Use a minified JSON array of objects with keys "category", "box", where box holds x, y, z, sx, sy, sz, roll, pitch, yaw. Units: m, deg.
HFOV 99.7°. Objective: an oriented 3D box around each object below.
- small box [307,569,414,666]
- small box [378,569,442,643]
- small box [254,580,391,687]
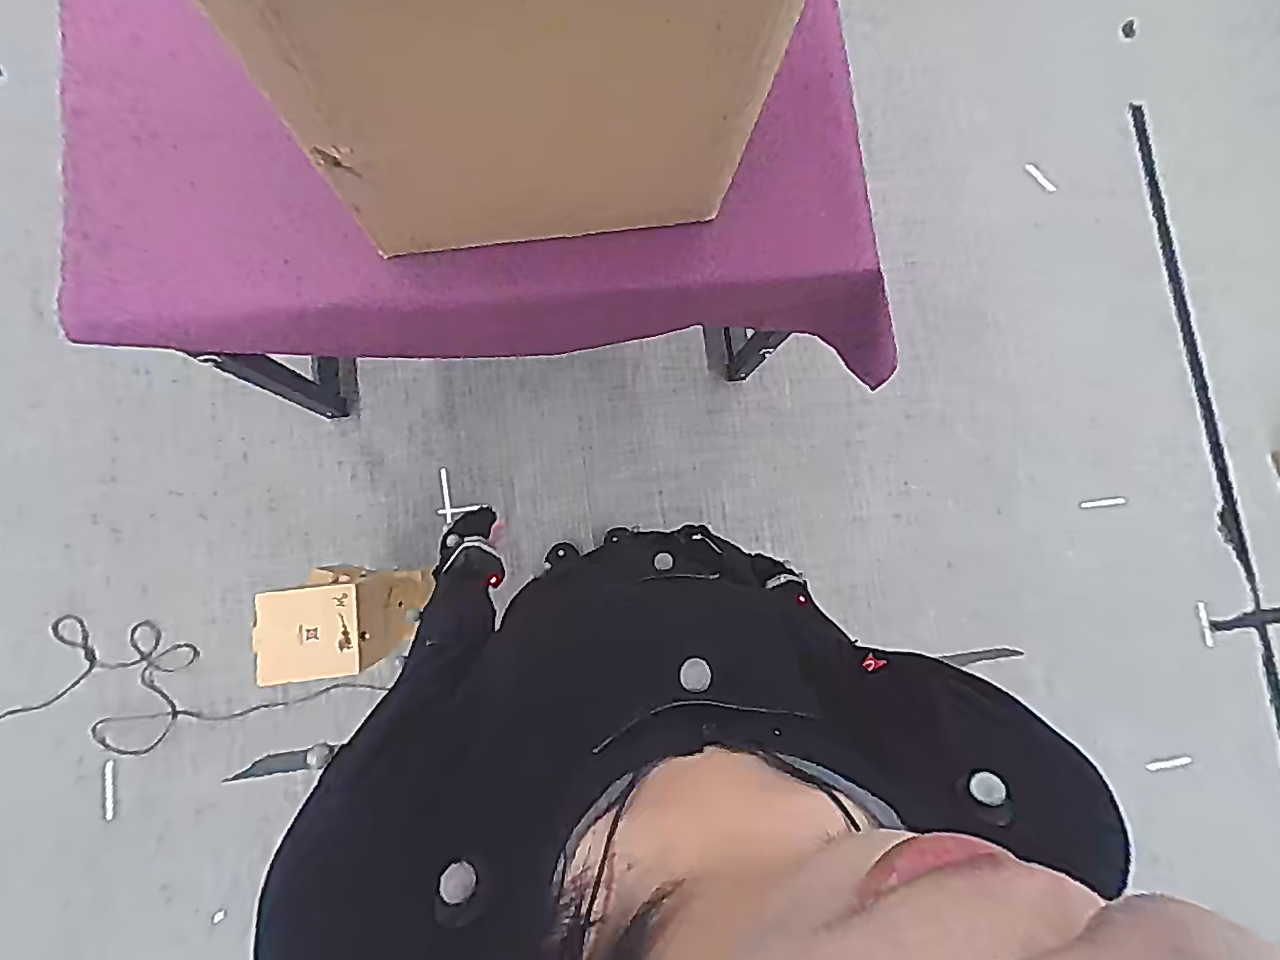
[{"category":"small box","box":[-0.629,0.297,1.203,0.179,0.176,0.168,14,82,-3]},{"category":"small box","box":[-0.614,0.319,1.366,0.179,0.176,0.168,-5,85,-7]},{"category":"small box","box":[-0.602,0.287,1.042,0.179,0.176,0.168,-5,84,-6]}]
